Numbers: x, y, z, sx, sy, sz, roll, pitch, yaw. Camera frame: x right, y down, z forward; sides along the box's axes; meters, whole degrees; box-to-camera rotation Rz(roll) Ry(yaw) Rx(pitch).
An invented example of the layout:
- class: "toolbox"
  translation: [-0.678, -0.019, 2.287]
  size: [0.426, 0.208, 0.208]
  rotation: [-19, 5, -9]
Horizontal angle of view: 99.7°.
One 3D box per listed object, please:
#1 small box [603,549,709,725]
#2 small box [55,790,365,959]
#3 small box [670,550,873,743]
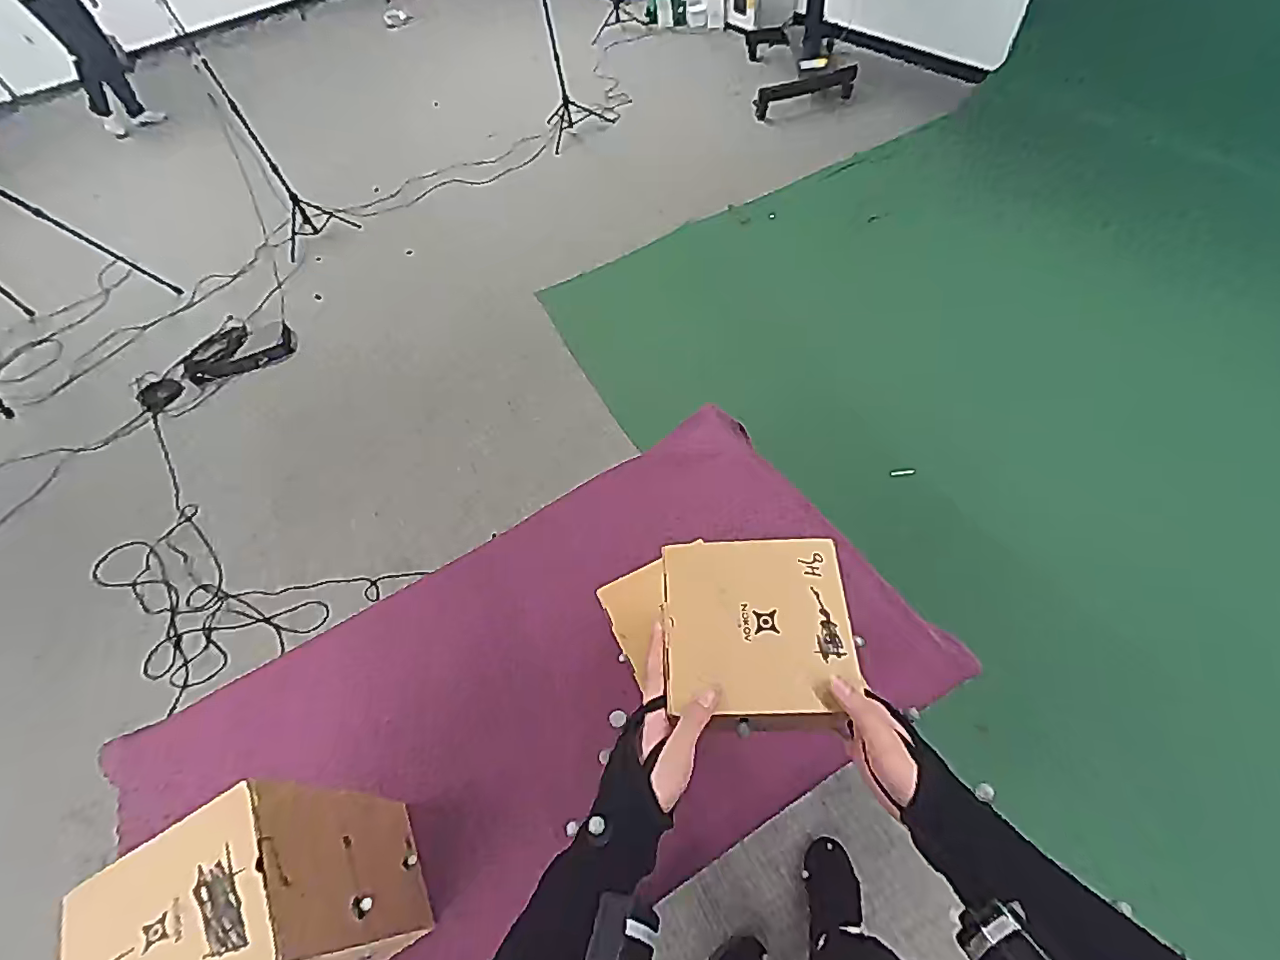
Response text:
- class: "small box"
  translation: [0.065, 0.238, 0.808]
  size: [0.179, 0.176, 0.168]
  rotation: [-25, 56, -8]
- class: "small box"
  translation: [-0.397, 0.437, 0.526]
  size: [0.179, 0.176, 0.168]
  rotation: [-31, 56, -13]
- class: "small box"
  translation: [0.124, 0.184, 0.579]
  size: [0.179, 0.176, 0.168]
  rotation: [-2, 59, 4]
